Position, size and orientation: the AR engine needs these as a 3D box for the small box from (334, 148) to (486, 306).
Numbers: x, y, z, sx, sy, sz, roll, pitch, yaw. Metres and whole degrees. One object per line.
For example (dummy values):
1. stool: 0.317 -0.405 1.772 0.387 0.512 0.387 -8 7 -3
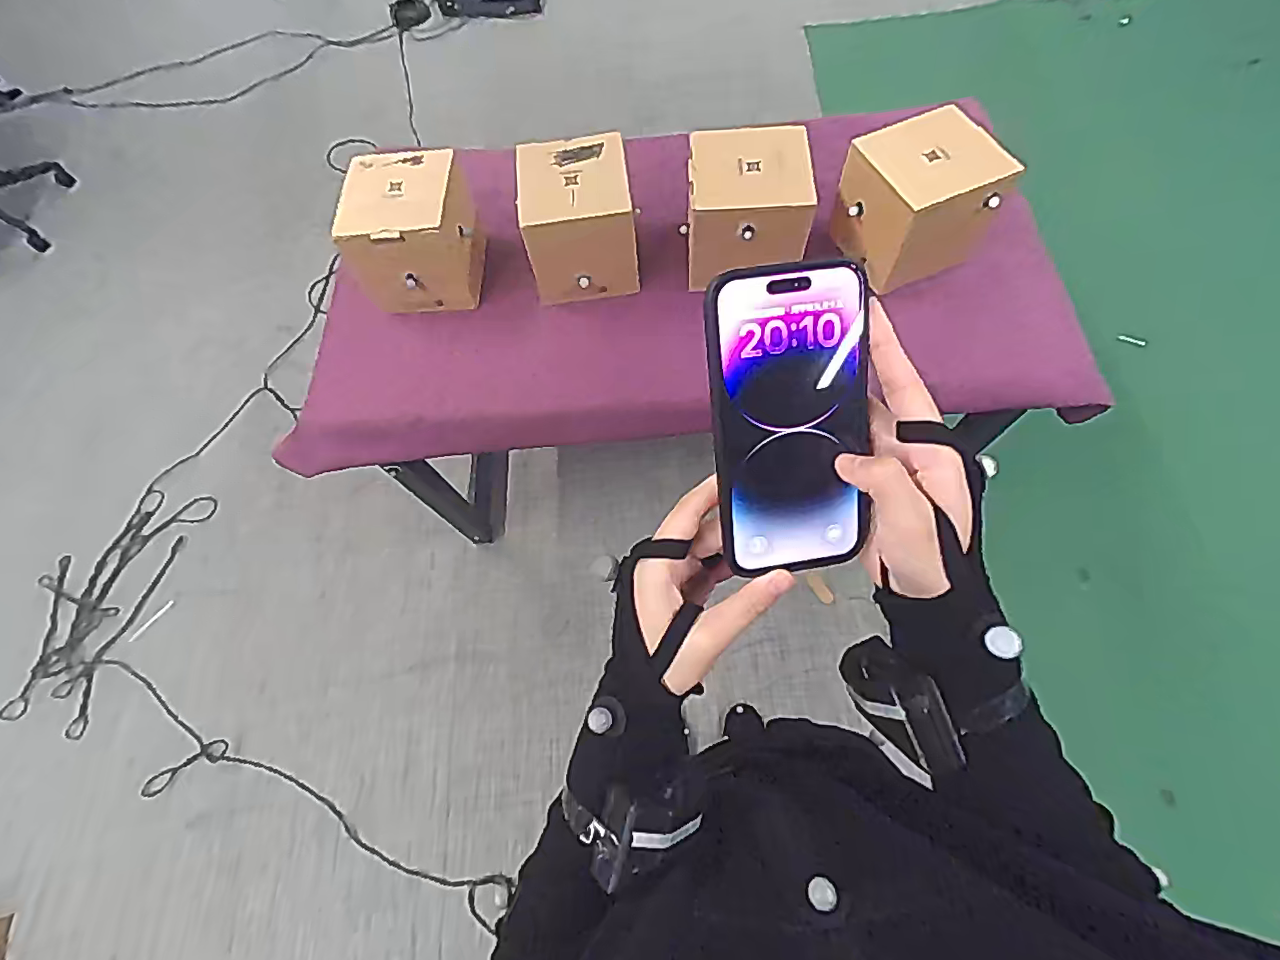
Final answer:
1. small box: -0.364 -0.404 0.890 0.168 0.176 0.179 -3 67 3

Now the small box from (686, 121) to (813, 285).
1. small box: 0.163 -0.429 0.857 0.179 0.176 0.168 0 68 4

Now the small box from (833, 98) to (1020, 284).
1. small box: 0.420 -0.437 0.838 0.179 0.176 0.168 -23 66 -5

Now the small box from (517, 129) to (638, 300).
1. small box: -0.096 -0.422 0.875 0.168 0.176 0.179 -8 67 2
